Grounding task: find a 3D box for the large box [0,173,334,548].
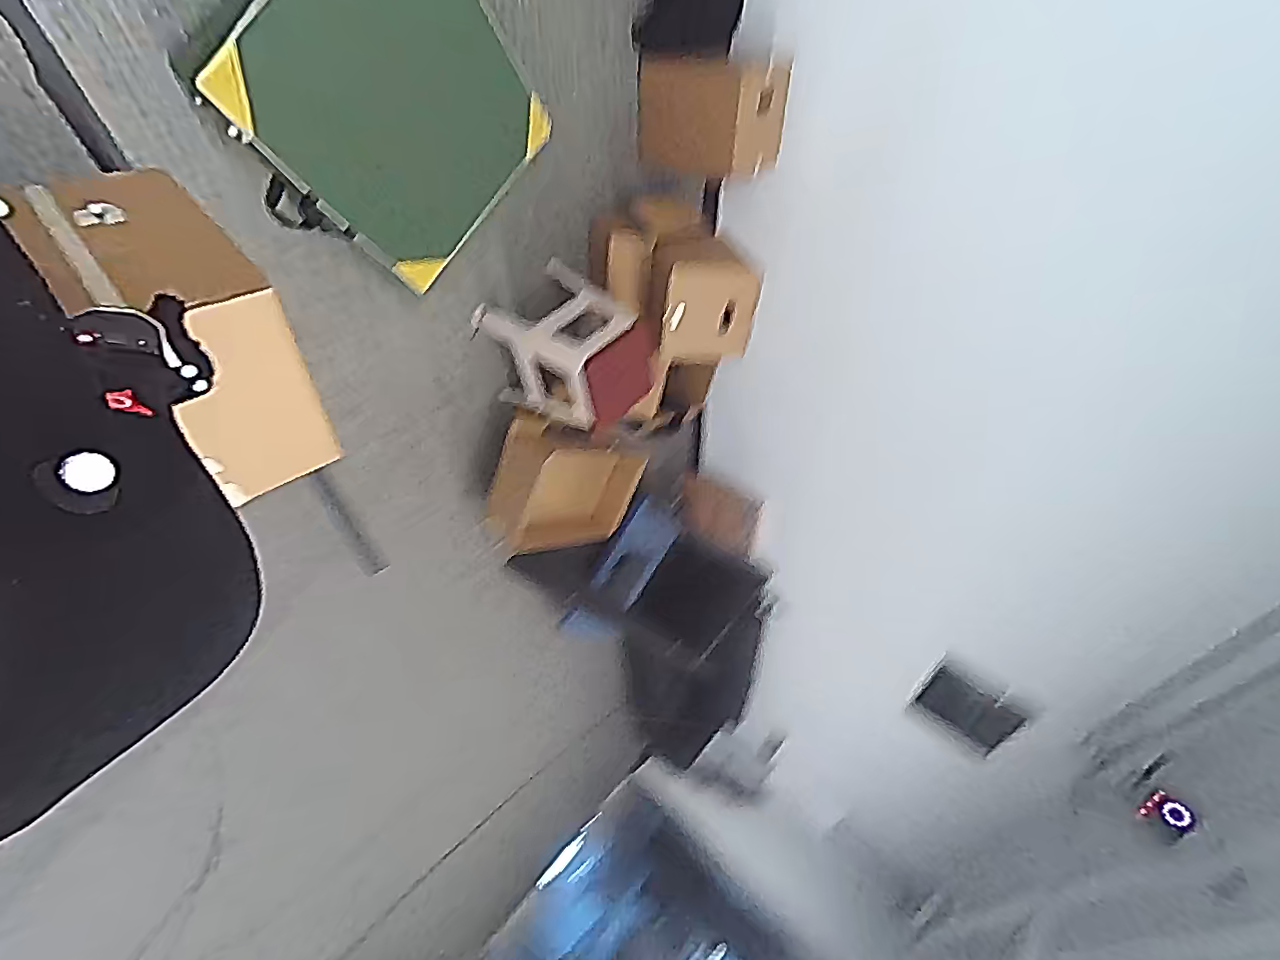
[{"bbox_3d":[-0.733,-0.182,0.784,0.320,0.408,0.320,-36,153,-32],"label":"large box"}]
